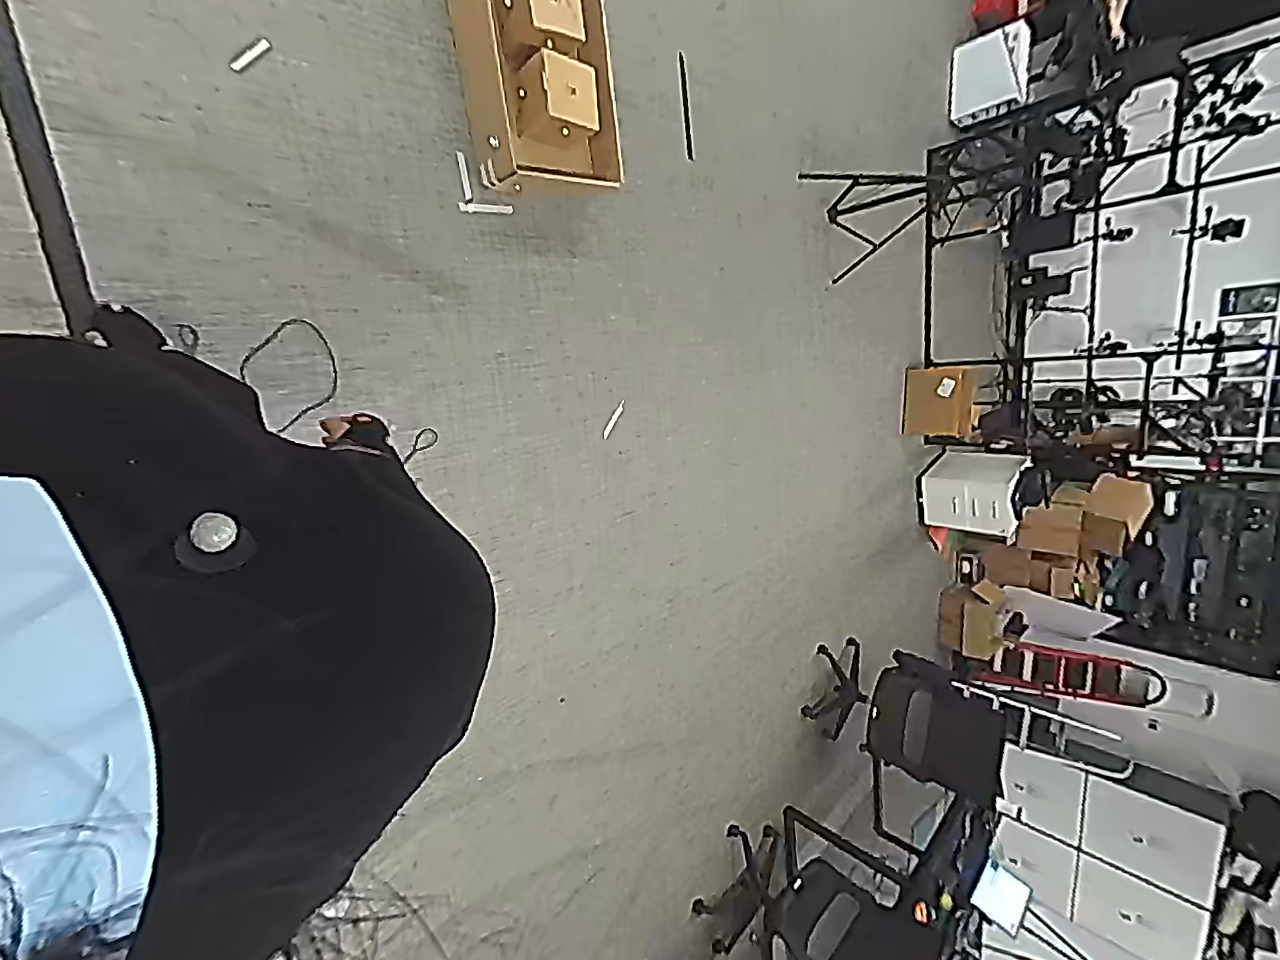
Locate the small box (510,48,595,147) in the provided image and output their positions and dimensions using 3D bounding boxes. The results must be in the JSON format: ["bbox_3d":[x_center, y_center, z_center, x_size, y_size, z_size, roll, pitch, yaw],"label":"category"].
[{"bbox_3d":[-0.252,-1.091,1.563,0.179,0.176,0.168,-12,103,-41],"label":"small box"}]

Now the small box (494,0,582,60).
[{"bbox_3d":[-0.289,-1.296,1.496,0.179,0.176,0.168,-21,111,-40],"label":"small box"}]
